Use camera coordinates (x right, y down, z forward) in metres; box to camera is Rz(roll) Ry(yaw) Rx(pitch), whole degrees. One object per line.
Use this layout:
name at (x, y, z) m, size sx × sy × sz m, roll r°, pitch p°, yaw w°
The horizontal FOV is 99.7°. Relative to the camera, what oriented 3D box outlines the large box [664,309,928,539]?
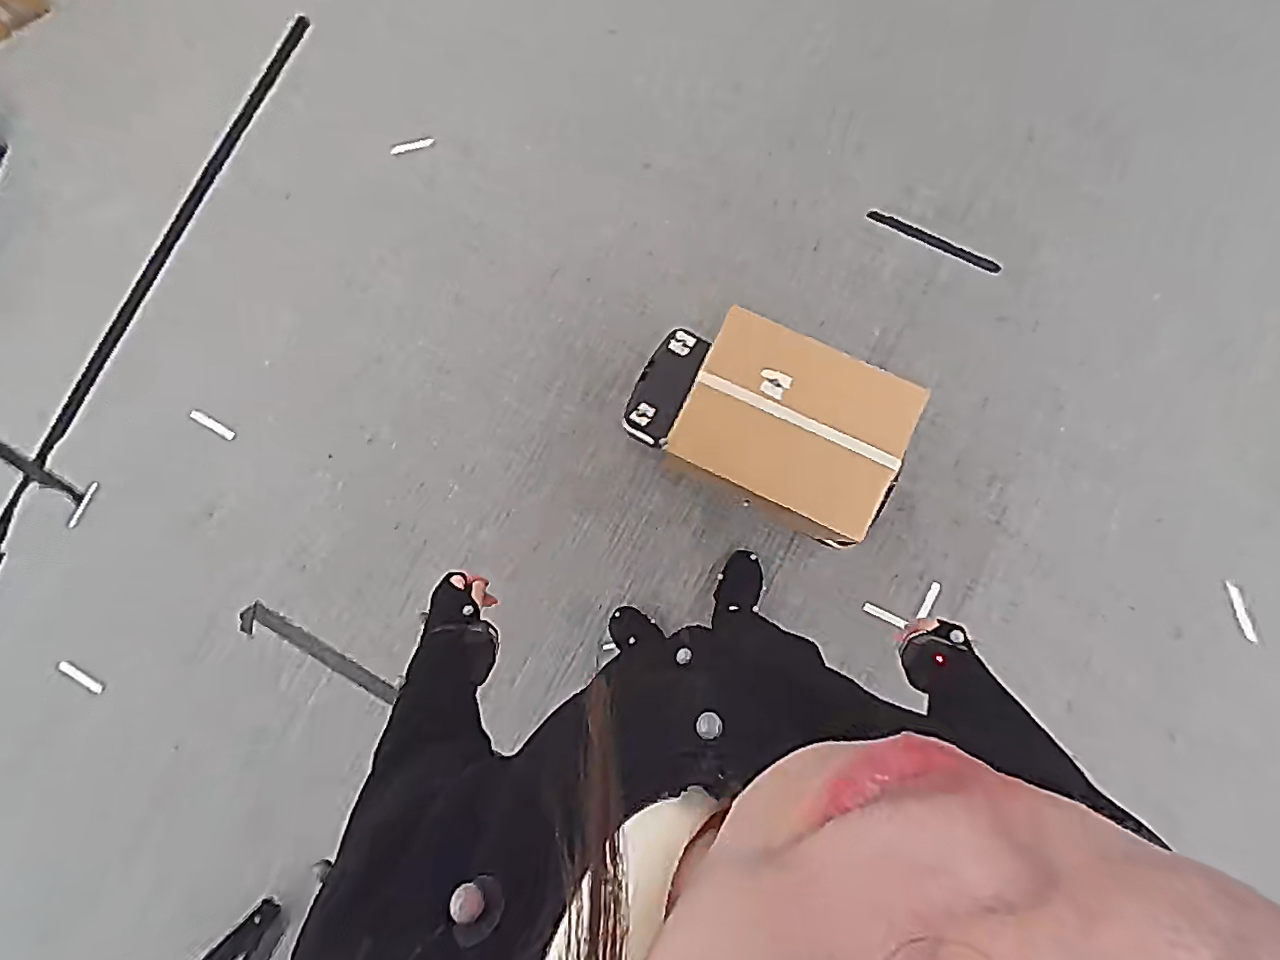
large box at (0.300, -0.097, 1.147) m, size 0.408 × 0.320 × 0.320 m, roll 26°, pitch 87°, yaw 6°
